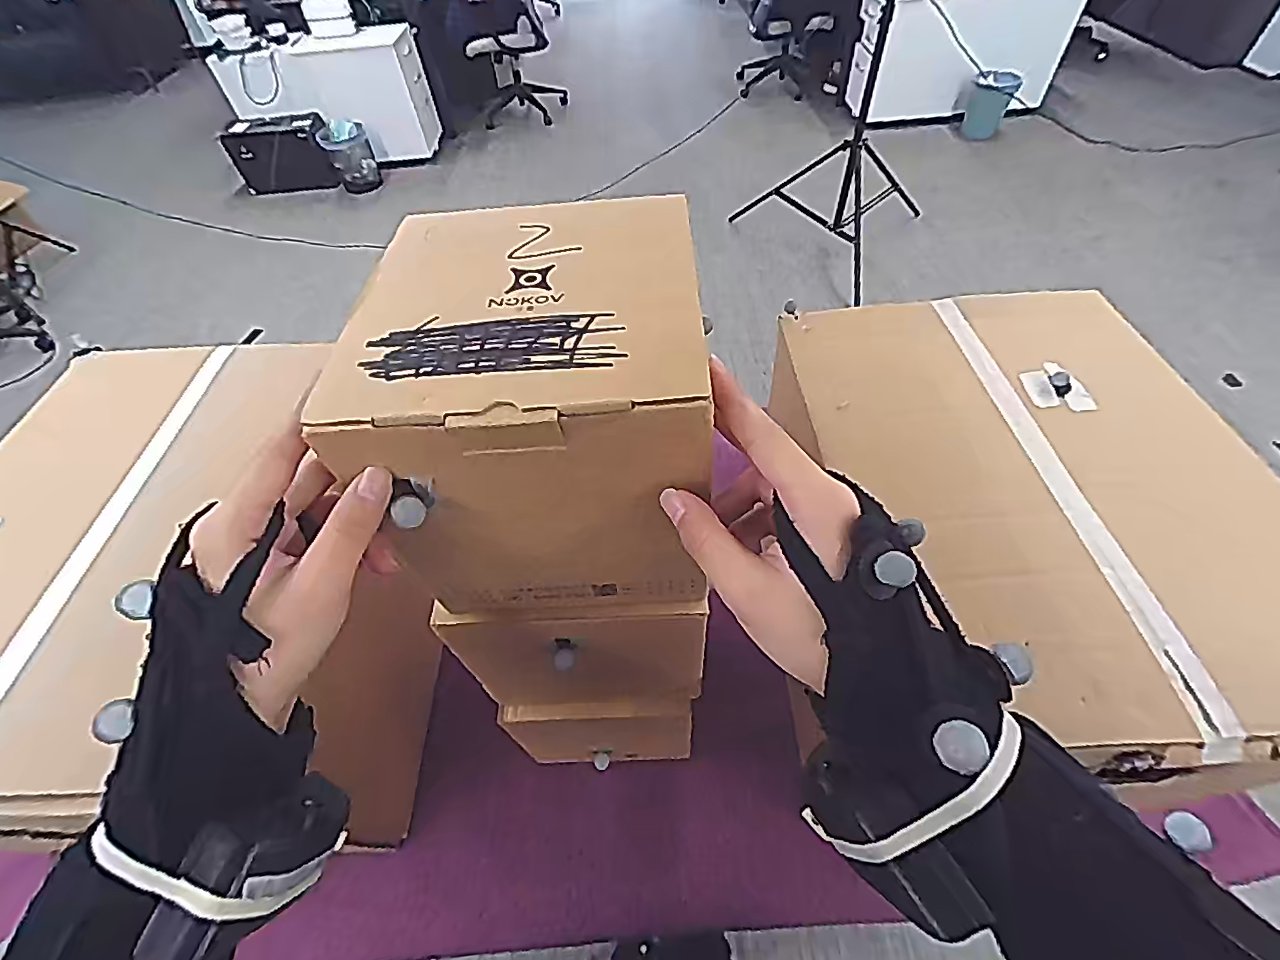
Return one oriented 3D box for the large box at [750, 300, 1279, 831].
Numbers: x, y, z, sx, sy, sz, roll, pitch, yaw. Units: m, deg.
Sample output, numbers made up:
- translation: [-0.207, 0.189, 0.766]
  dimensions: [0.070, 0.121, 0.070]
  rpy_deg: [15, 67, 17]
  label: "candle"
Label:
- translation: [0.303, 0.081, 0.531]
  dimensions: [0.320, 0.320, 0.408]
  rpy_deg: [-4, 51, 1]
  label: "large box"
